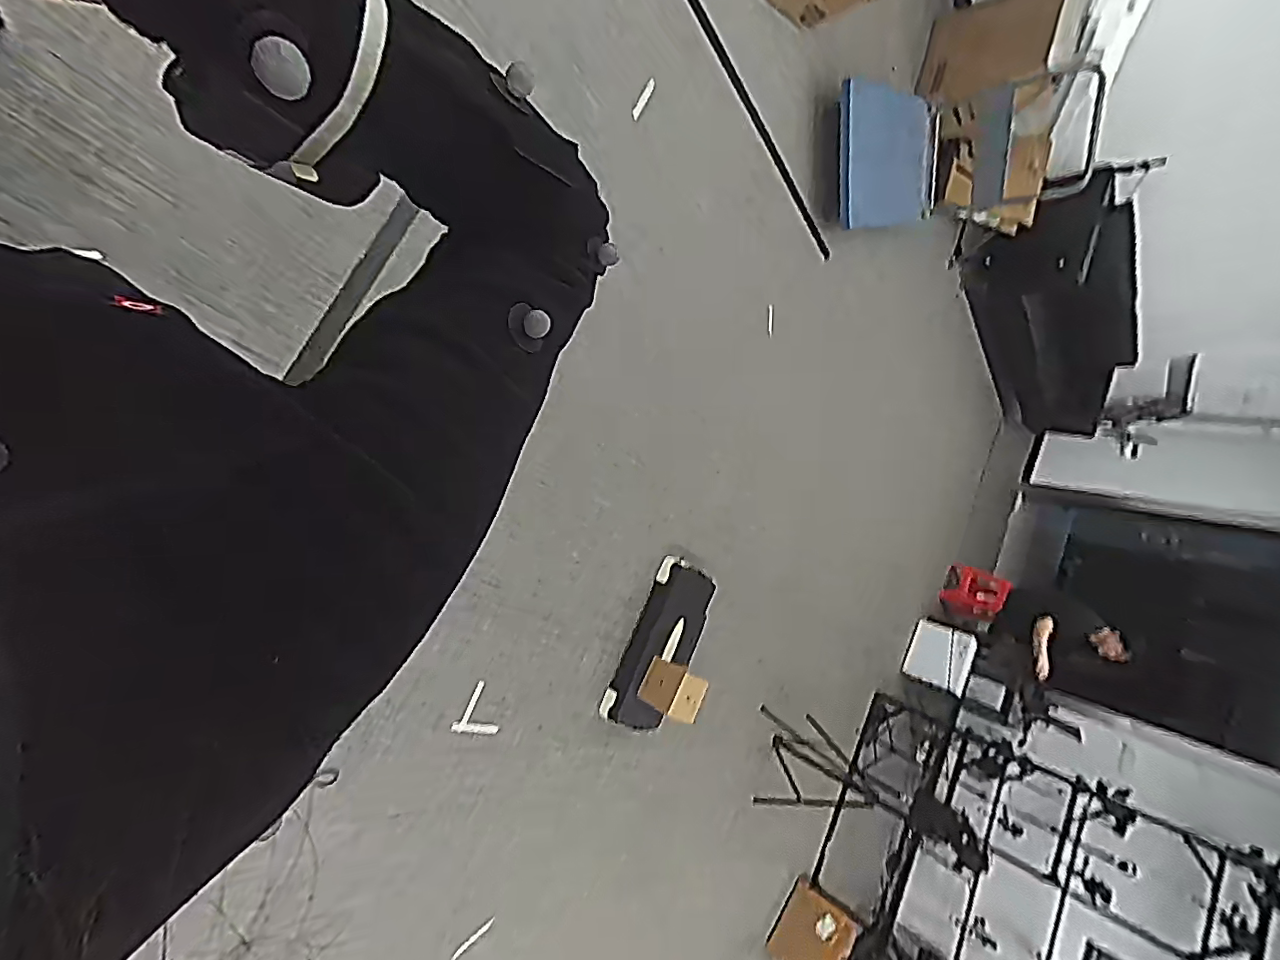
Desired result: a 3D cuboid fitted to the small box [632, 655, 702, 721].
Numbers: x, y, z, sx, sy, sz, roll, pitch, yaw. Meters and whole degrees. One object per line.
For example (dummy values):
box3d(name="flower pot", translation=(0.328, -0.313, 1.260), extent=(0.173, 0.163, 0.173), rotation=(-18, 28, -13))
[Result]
box3d(name="small box", translation=(0.101, 0.790, 2.065), extent=(0.179, 0.176, 0.168), rotation=(40, 72, -42))
